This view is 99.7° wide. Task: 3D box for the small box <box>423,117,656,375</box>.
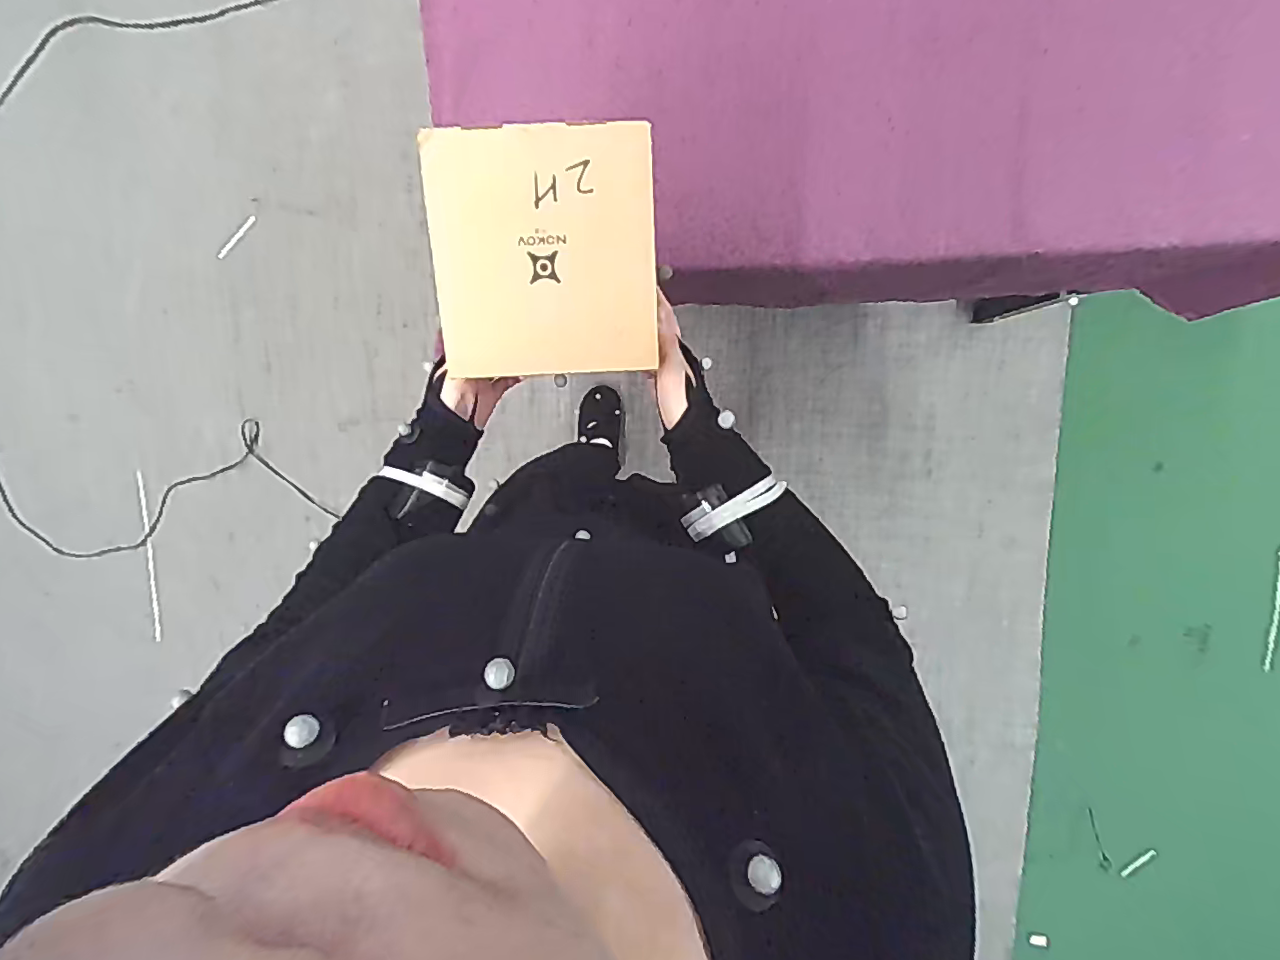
[{"bbox_3d":[-0.071,-0.188,0.477,0.168,0.176,0.179,-2,104,-1],"label":"small box"}]
